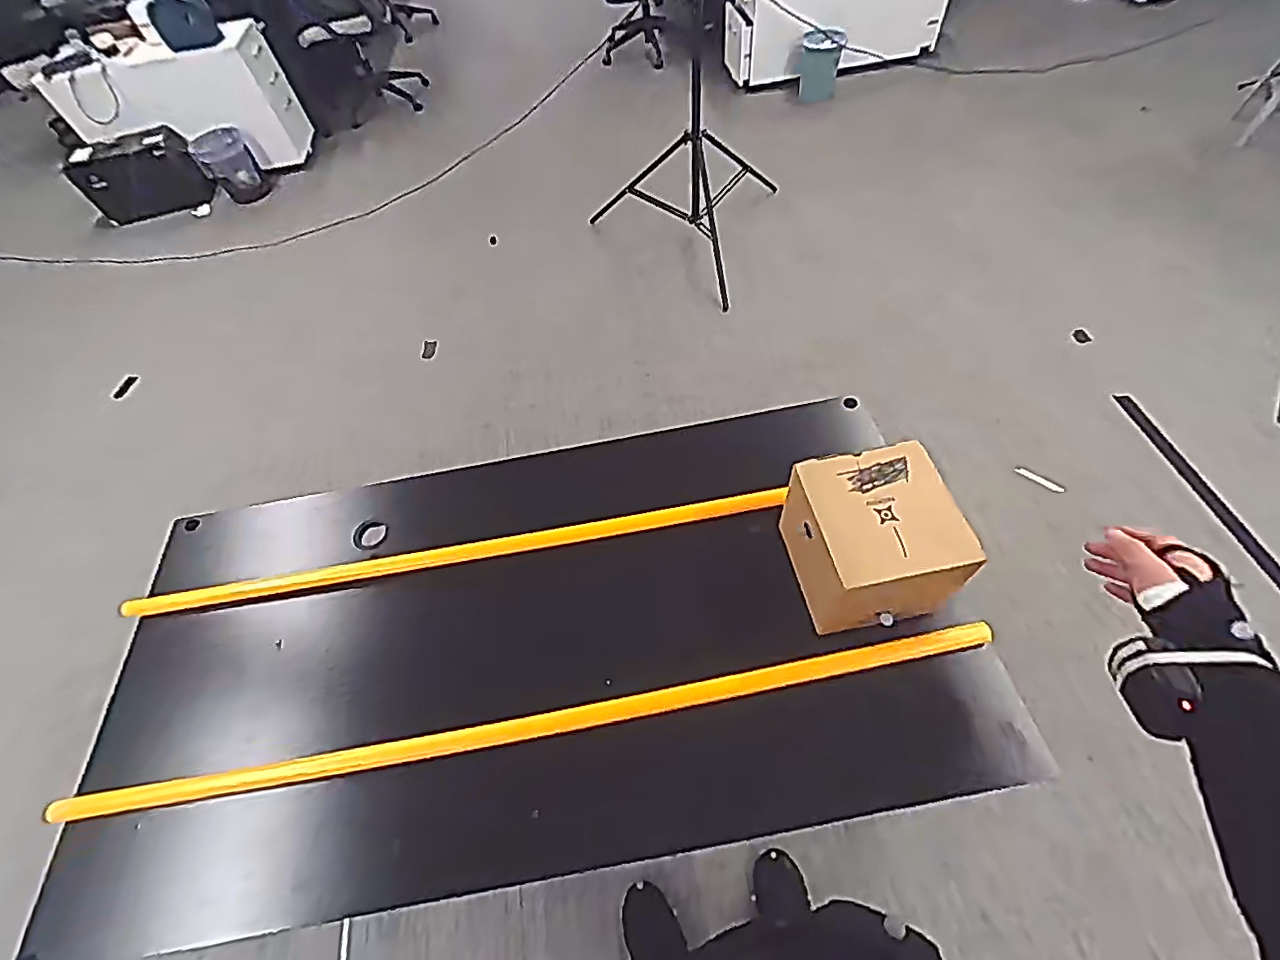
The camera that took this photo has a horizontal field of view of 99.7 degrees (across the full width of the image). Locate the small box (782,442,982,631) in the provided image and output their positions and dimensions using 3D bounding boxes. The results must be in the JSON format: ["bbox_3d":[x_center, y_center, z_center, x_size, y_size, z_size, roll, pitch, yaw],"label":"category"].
[{"bbox_3d":[0.298,0.079,0.717,0.168,0.176,0.179,-11,56,0],"label":"small box"}]
